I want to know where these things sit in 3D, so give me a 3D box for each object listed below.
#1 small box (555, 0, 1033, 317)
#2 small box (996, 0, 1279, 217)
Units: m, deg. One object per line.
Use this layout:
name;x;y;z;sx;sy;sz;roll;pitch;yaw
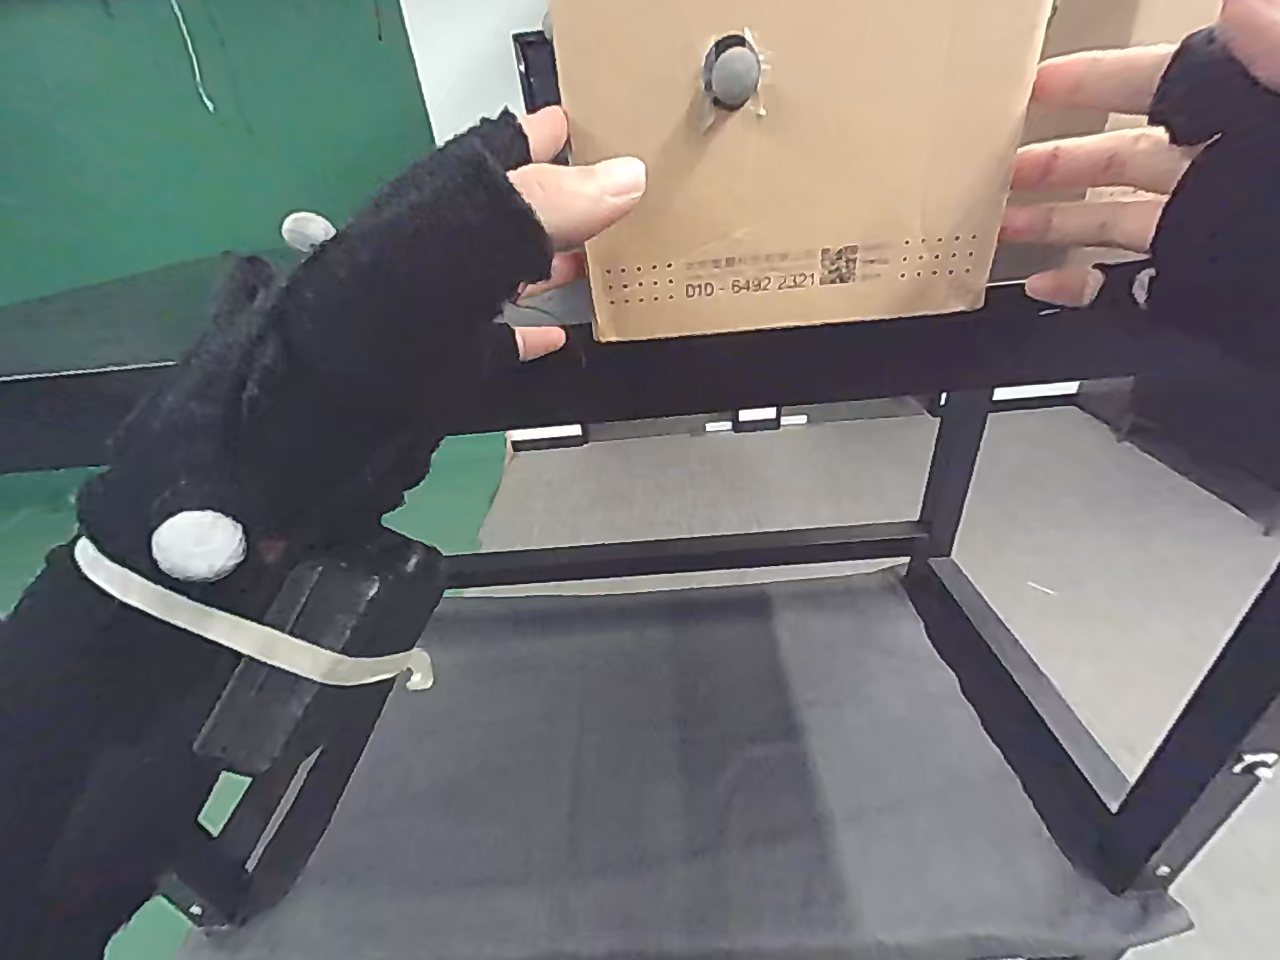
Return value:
small box;0.059;-0.181;0.260;0.168;0.176;0.179;-4;30;5
small box;0.358;-0.279;0.361;0.168;0.176;0.179;-2;32;8
